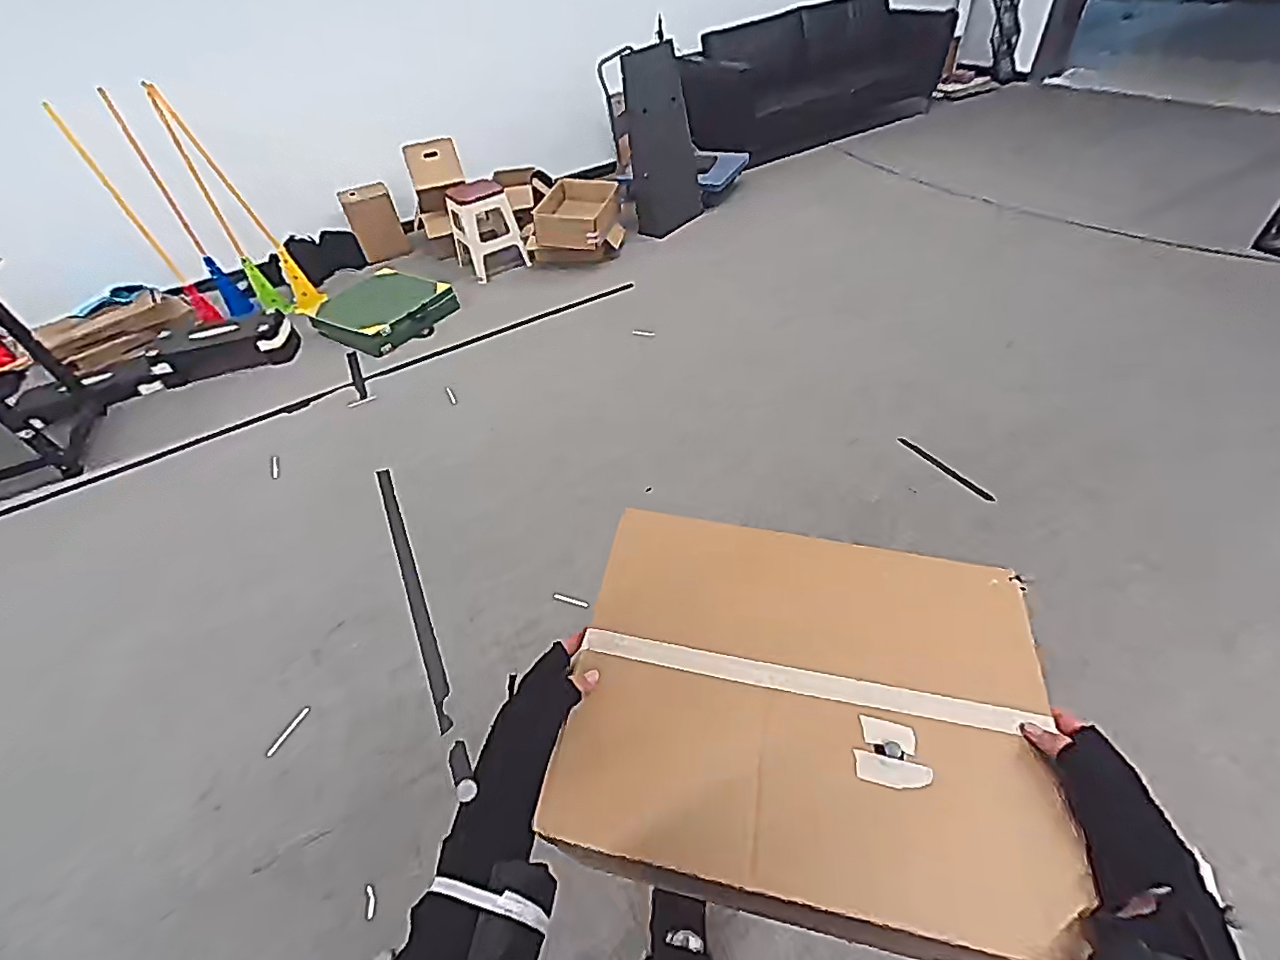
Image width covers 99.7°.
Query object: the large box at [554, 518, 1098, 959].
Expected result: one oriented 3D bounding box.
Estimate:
[{"bbox_3d":[0.155,0.280,0.604,0.408,0.320,0.320,9,52,9],"label":"large box"}]
